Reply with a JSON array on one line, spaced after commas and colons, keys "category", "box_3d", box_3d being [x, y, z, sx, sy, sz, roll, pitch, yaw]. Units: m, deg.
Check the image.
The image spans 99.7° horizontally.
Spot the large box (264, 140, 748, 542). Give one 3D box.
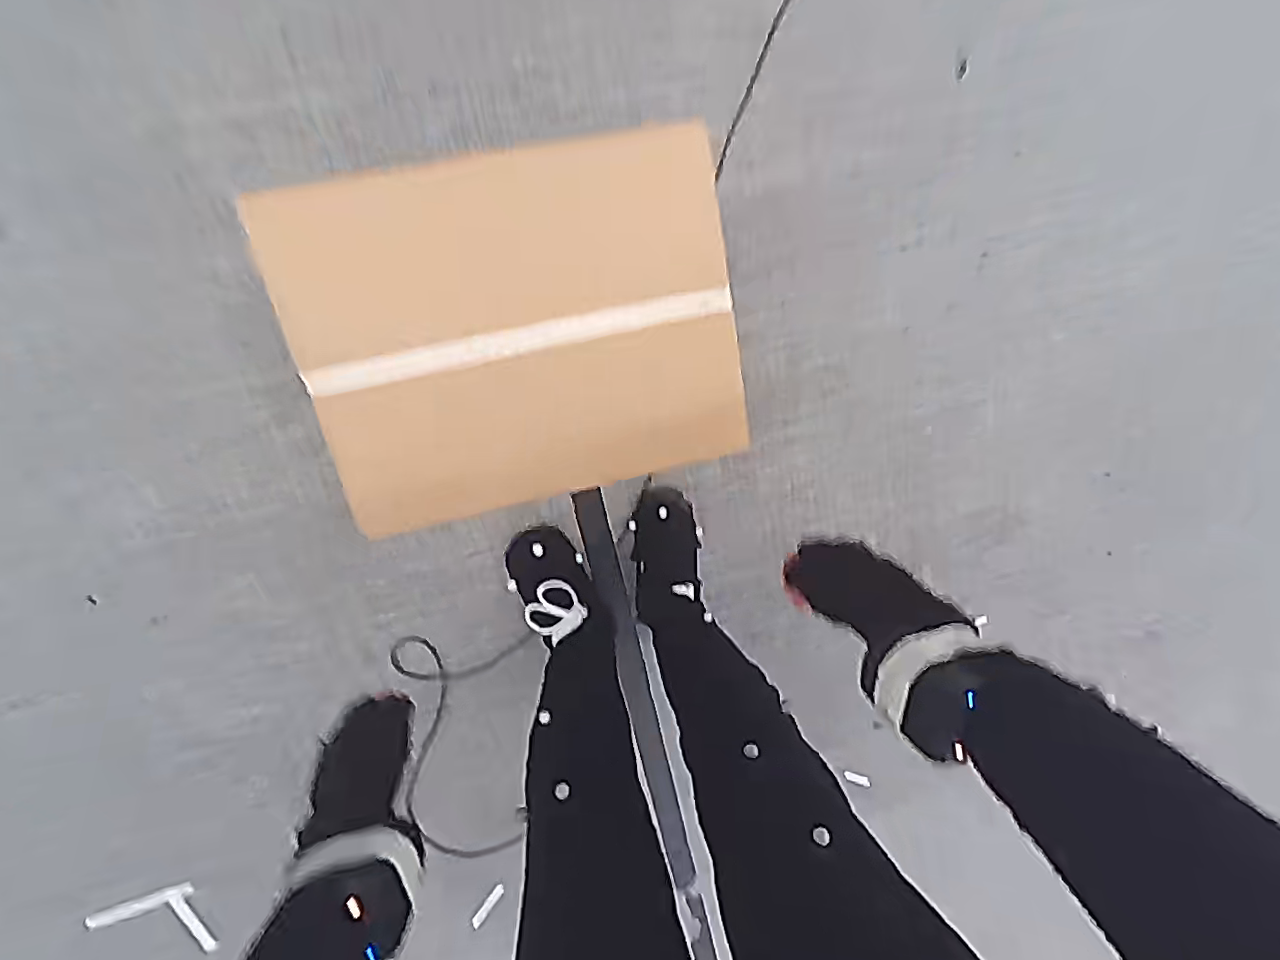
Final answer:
[{"category": "large box", "box_3d": [-0.129, -0.163, 0.663, 0.408, 0.320, 0.320, -13, 108, -7]}]
